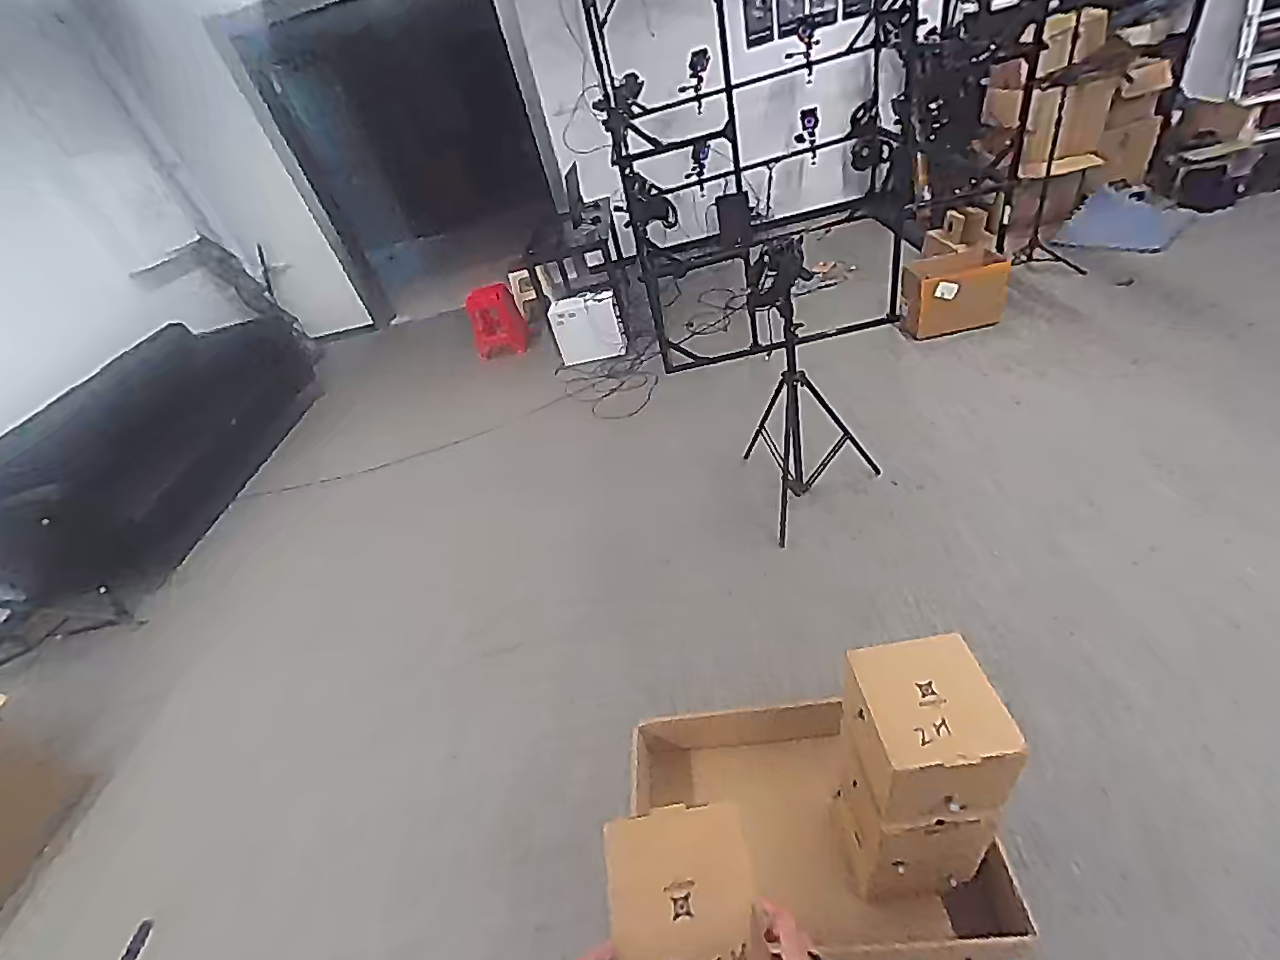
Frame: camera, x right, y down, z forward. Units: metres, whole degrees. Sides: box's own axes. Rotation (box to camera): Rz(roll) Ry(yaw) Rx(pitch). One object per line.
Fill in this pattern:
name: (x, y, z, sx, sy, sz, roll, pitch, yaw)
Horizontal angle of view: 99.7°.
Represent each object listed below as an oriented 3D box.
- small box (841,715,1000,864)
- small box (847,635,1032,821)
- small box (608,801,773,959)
small box: (0.431, 0.486, 0.862, 0.168, 0.176, 0.179, -11, 38, 5)
small box: (0.404, 0.352, 0.770, 0.168, 0.176, 0.179, -11, 39, 5)
small box: (0.059, 0.525, 0.659, 0.168, 0.176, 0.179, -11, 44, 0)
